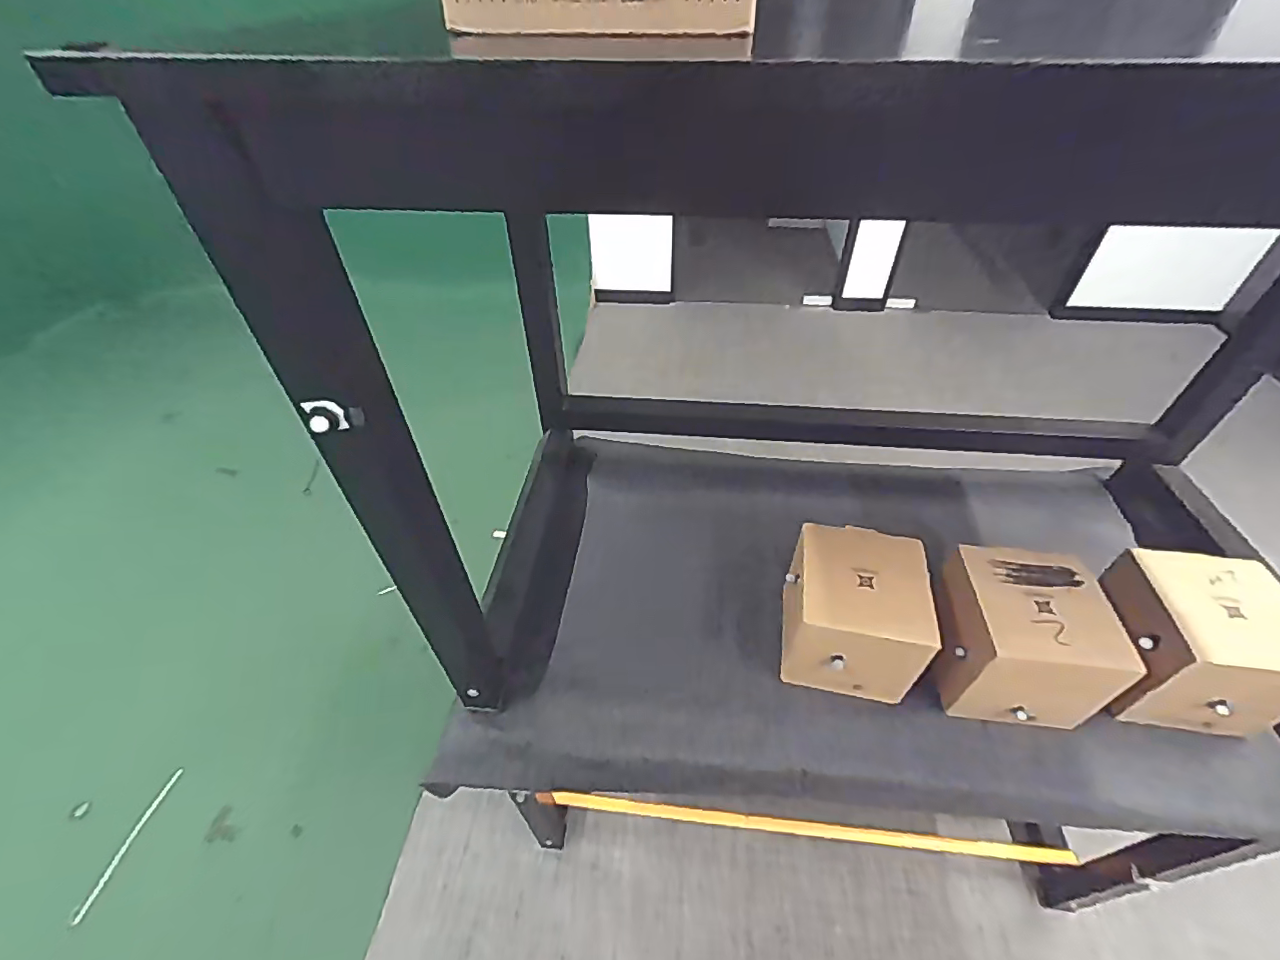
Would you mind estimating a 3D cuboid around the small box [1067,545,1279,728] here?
[{"bbox_3d":[0.743,0.215,0.740,0.168,0.176,0.179,6,44,7],"label":"small box"}]

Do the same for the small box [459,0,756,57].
[{"bbox_3d":[-0.012,-0.349,0.293,0.168,0.176,0.179,4,45,6],"label":"small box"}]

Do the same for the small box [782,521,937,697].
[{"bbox_3d":[0.304,0.187,0.784,0.168,0.176,0.179,8,45,10],"label":"small box"}]
